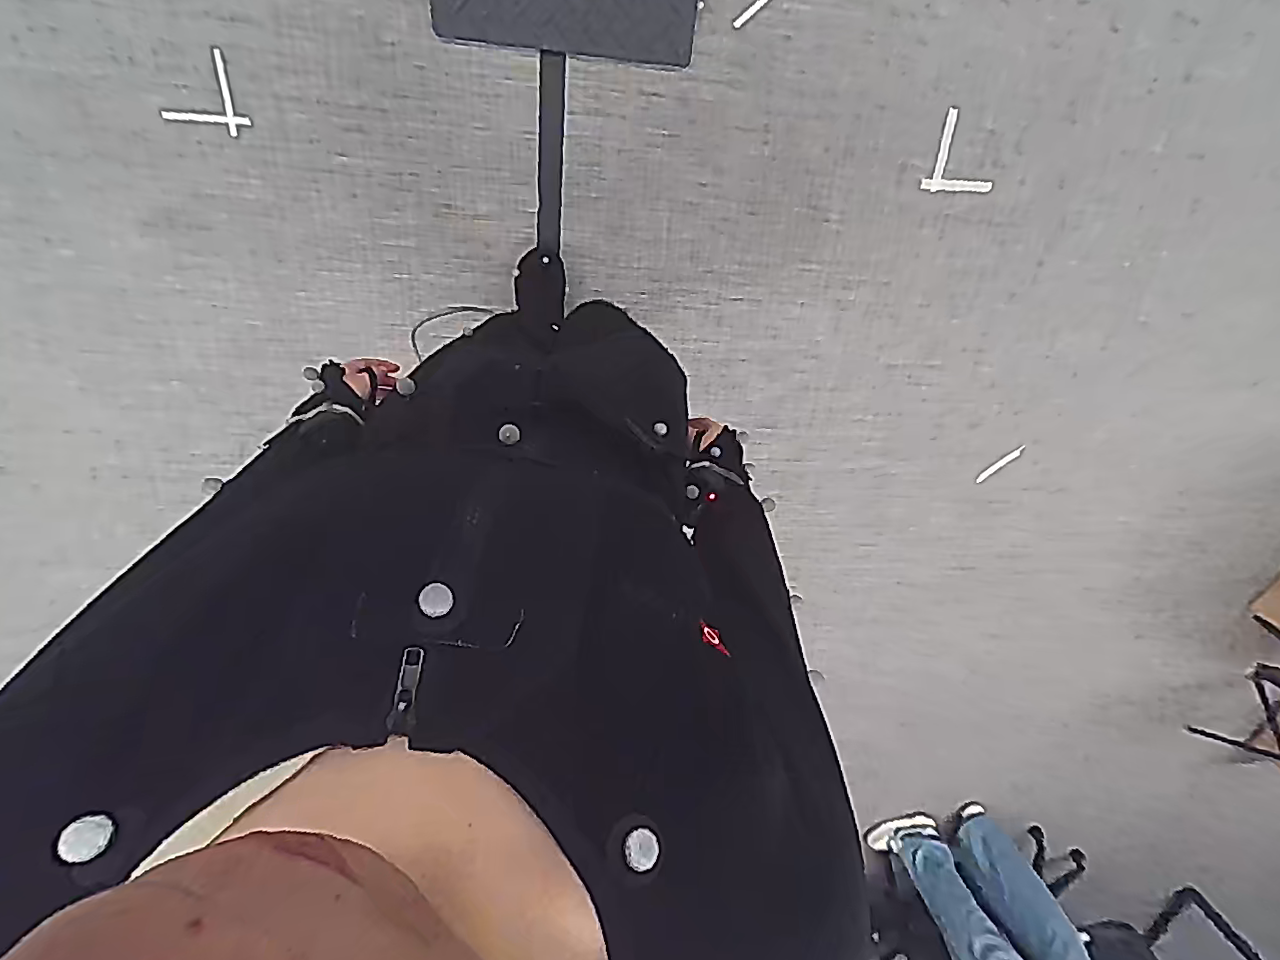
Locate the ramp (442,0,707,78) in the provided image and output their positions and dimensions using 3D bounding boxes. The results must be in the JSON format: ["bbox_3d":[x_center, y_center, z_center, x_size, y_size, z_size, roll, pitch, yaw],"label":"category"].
[{"bbox_3d":[-0.084,-1.216,0.775,0.509,0.206,0.991,-1,116,-8],"label":"ramp"}]
